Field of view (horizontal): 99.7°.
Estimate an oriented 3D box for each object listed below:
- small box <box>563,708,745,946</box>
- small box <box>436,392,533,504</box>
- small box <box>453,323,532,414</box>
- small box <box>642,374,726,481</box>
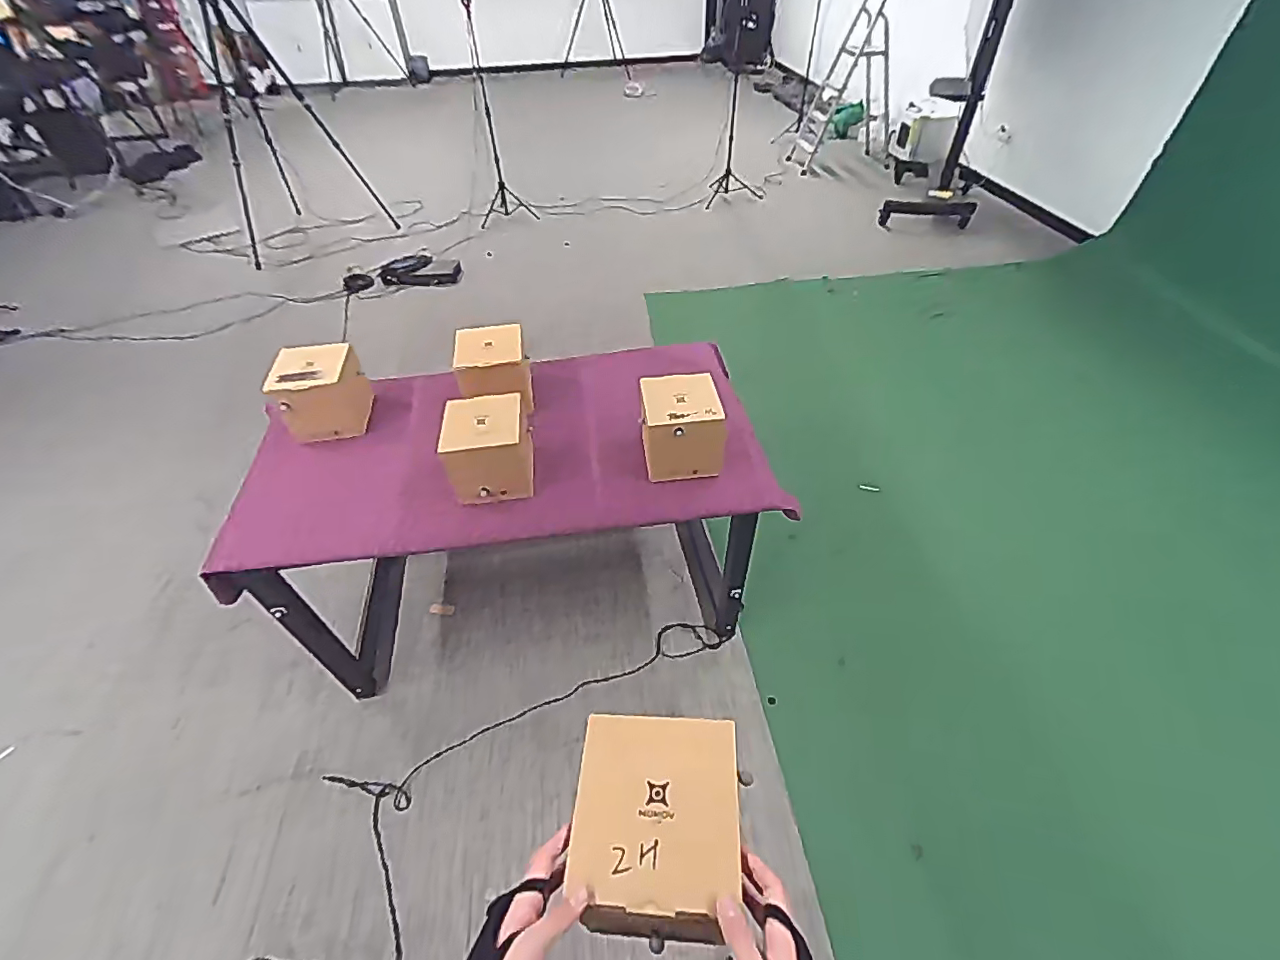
[{"bbox_3d":[0.025,0.376,0.591,0.168,0.176,0.179,0,43,7],"label":"small box"},{"bbox_3d":[-0.333,-0.071,1.192,0.168,0.176,0.179,-7,46,-4],"label":"small box"},{"bbox_3d":[-0.376,-0.282,1.398,0.168,0.176,0.179,-8,48,-7],"label":"small box"},{"bbox_3d":[0.092,-0.119,1.227,0.168,0.176,0.179,-6,44,-2],"label":"small box"}]
